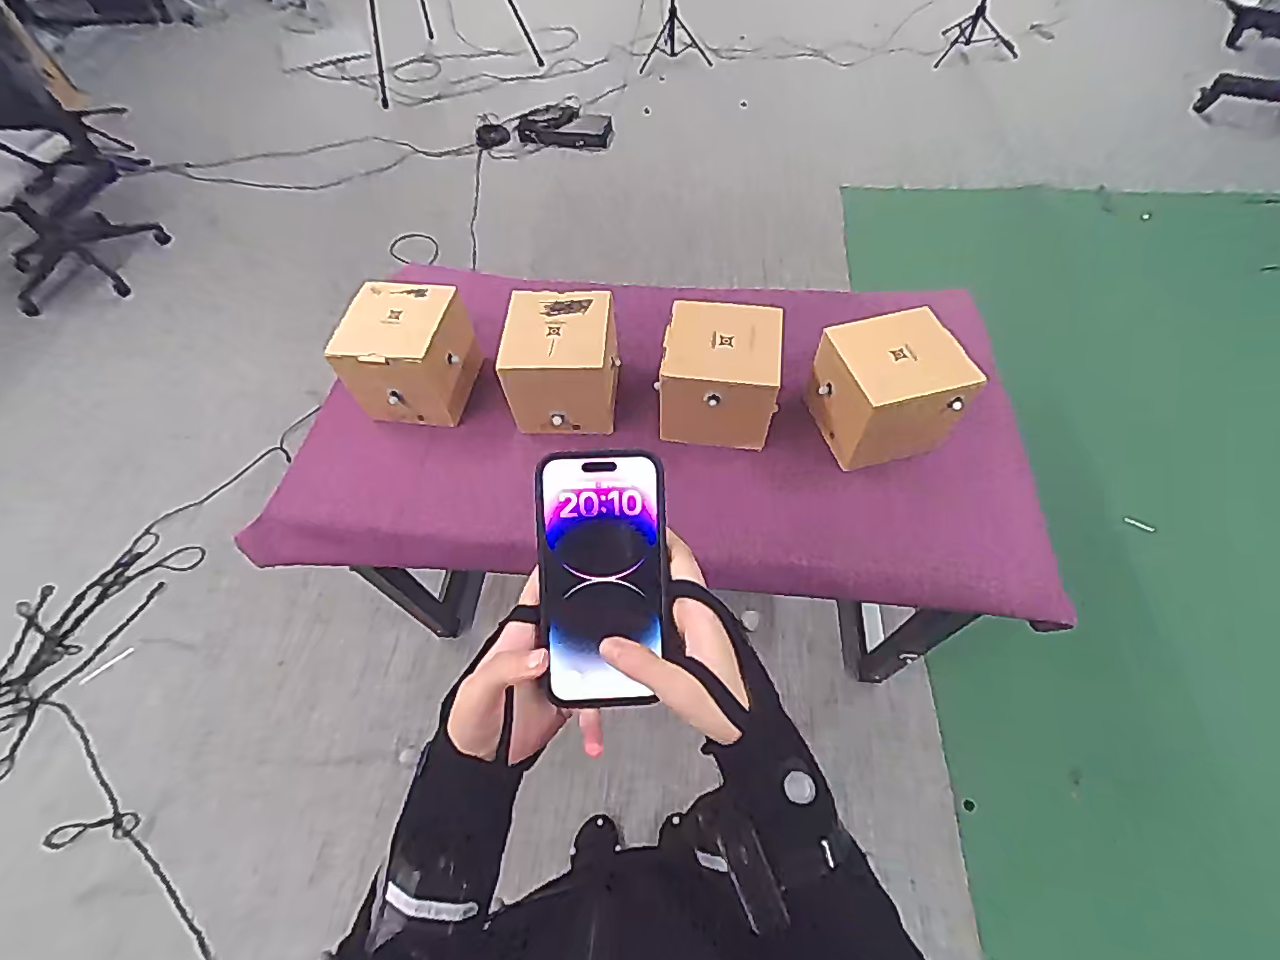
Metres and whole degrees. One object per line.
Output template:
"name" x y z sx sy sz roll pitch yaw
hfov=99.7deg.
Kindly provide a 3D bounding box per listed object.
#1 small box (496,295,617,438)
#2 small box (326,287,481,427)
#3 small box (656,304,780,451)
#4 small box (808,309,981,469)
"small box" -0.130 -0.191 0.919 0.168 0.176 0.179 0 58 4
"small box" -0.396 -0.210 0.945 0.168 0.176 0.179 5 58 6
"small box" 0.127 -0.164 0.889 0.179 0.176 0.168 7 59 7
"small box" 0.382 -0.138 0.858 0.179 0.176 0.168 -14 57 -5
